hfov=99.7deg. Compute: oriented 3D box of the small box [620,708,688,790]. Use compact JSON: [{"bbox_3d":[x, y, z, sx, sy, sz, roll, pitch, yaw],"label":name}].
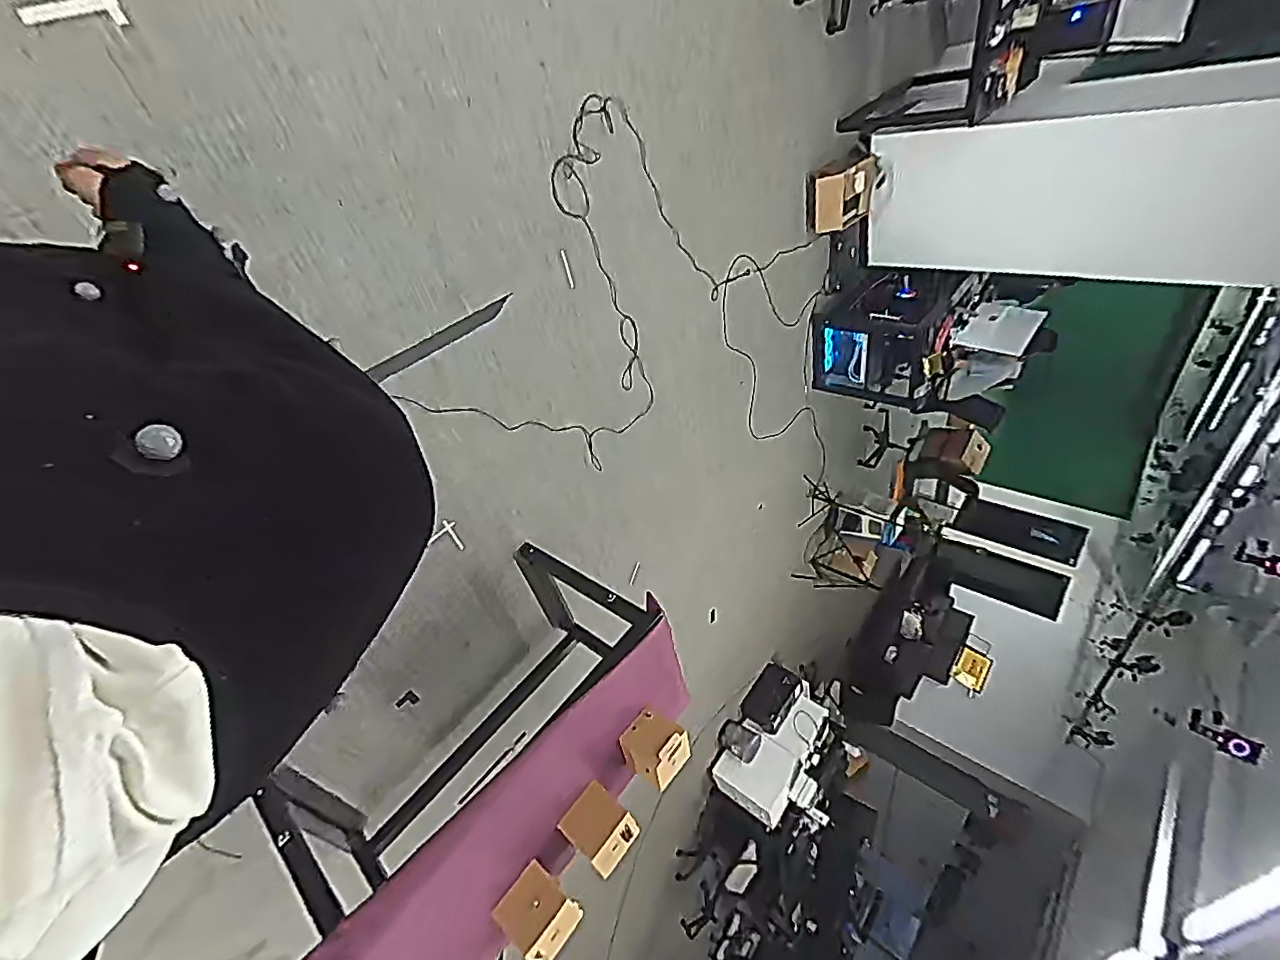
[{"bbox_3d":[0.047,0.935,1.901,0.168,0.176,0.179,-38,133,-34],"label":"small box"}]
